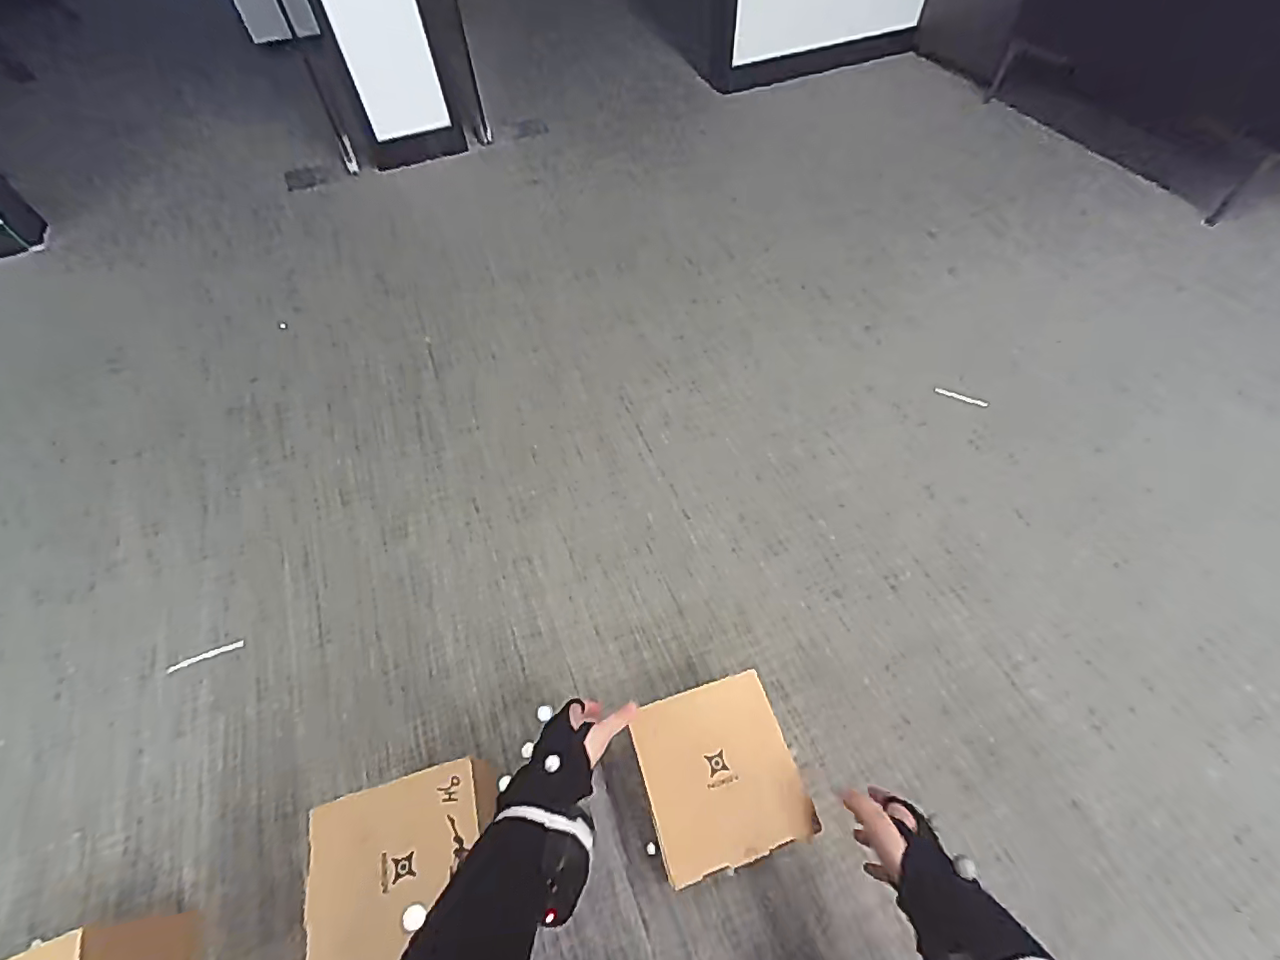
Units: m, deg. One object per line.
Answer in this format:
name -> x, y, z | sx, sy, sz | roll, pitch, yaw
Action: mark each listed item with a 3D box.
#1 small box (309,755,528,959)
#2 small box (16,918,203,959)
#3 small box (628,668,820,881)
small box -> -0.242, 0.440, 0.619 | 0.179, 0.176, 0.168 | -15, 56, -8
small box -> -0.583, 0.573, 0.539 | 0.179, 0.176, 0.168 | -20, 56, -11
small box -> 0.087, 0.360, 0.663 | 0.168, 0.176, 0.179 | -16, 57, -9
